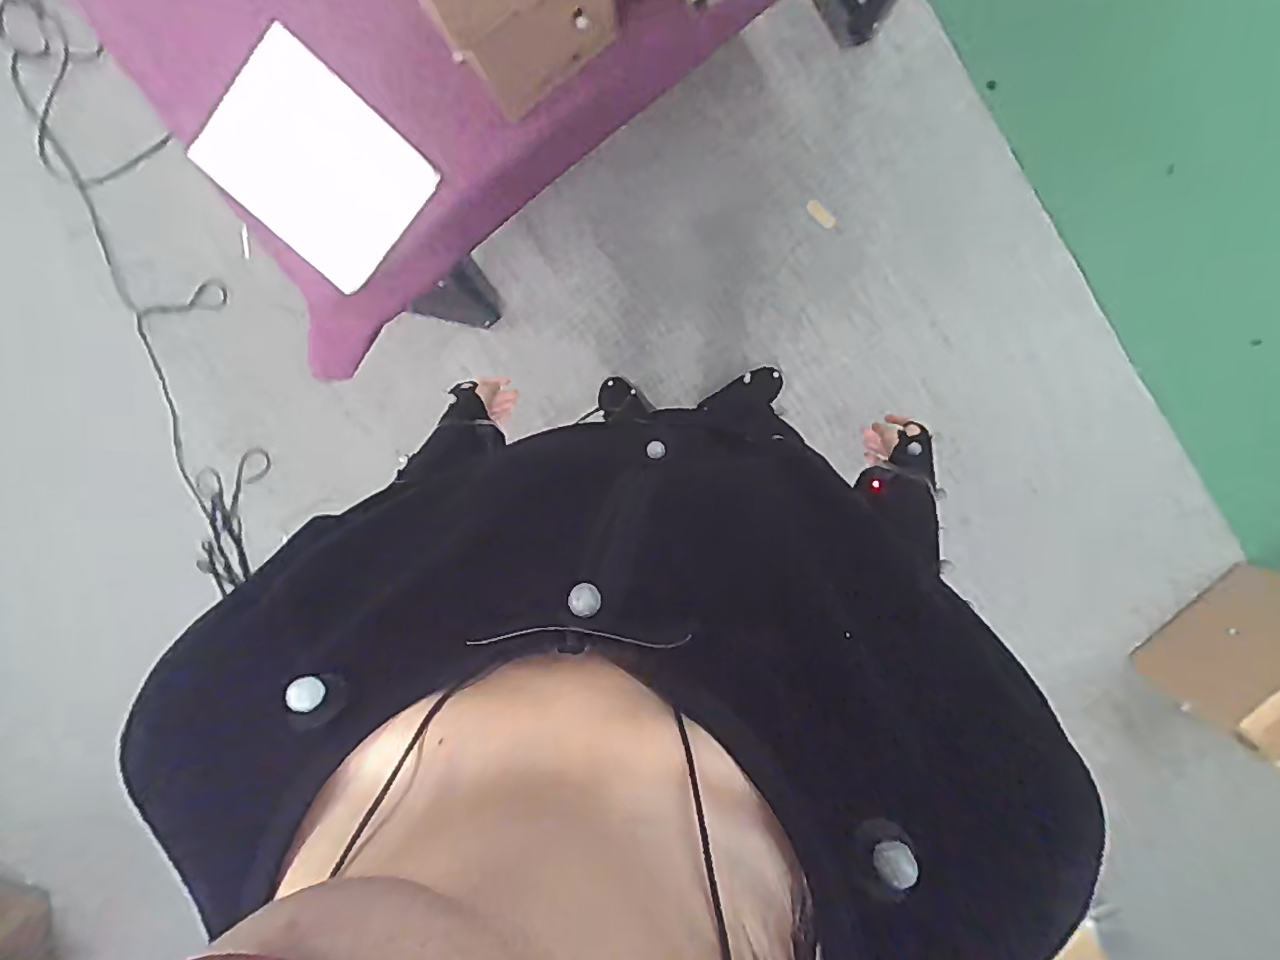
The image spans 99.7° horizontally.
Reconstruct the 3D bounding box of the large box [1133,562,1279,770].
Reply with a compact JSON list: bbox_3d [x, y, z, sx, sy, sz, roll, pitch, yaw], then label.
[{"bbox_3d":[1.646,0.491,1.393,0.320,0.320,0.408,39,99,-6],"label":"large box"}]

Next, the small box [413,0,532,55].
[{"bbox_3d":[-0.154,-0.502,0.423,0.179,0.176,0.168,-34,97,8],"label":"small box"}]

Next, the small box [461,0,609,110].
[{"bbox_3d":[-0.148,-0.545,0.582,0.168,0.176,0.179,-34,97,8],"label":"small box"}]
